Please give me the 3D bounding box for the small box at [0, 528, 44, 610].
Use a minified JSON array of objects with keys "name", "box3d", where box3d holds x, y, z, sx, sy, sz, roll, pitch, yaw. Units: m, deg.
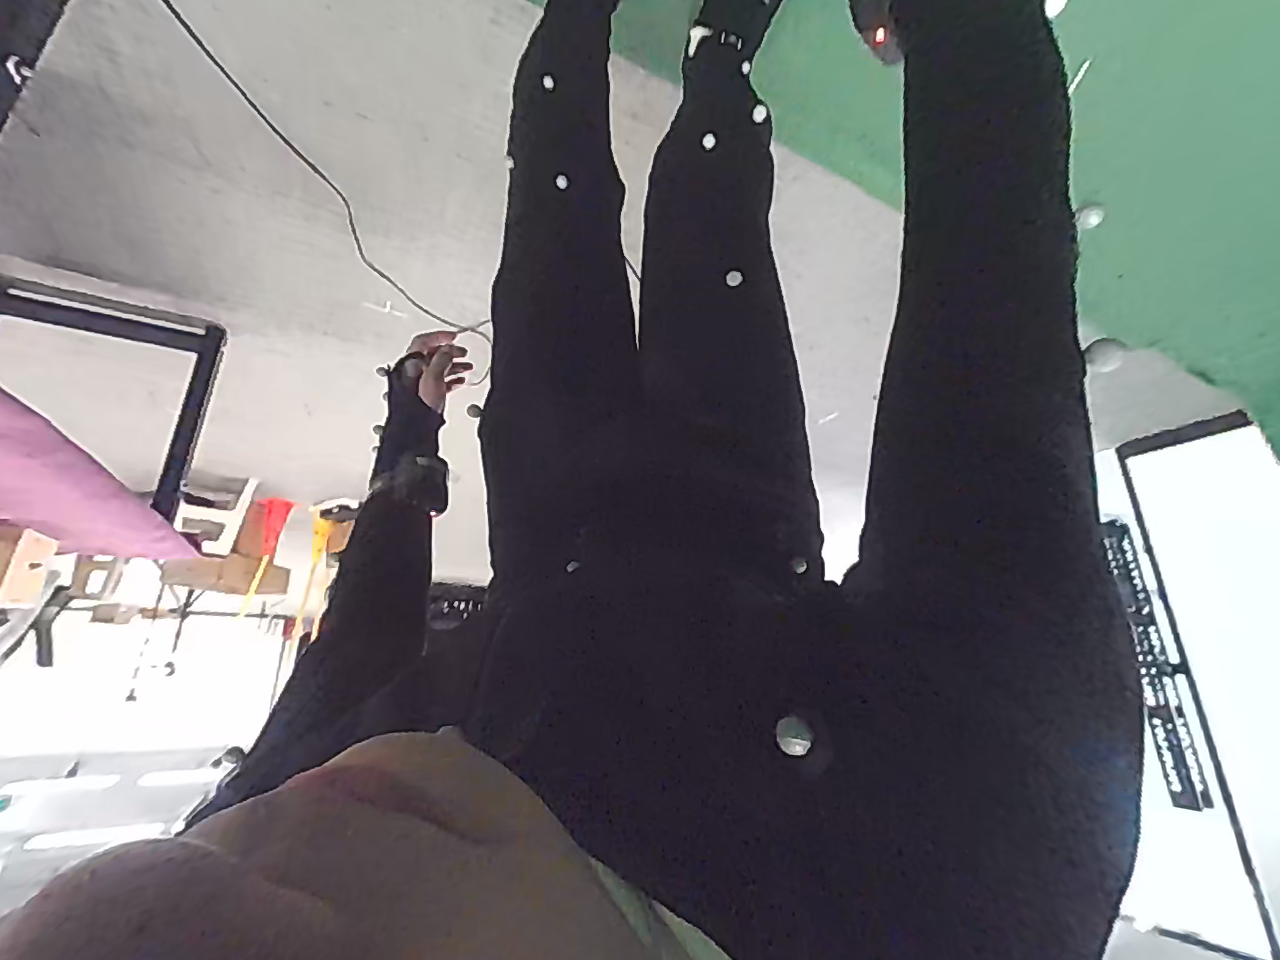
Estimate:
[{"name":"small box","box3d":[-1.497,0.197,1.208,0.179,0.176,0.168,8,158,-25]}]
